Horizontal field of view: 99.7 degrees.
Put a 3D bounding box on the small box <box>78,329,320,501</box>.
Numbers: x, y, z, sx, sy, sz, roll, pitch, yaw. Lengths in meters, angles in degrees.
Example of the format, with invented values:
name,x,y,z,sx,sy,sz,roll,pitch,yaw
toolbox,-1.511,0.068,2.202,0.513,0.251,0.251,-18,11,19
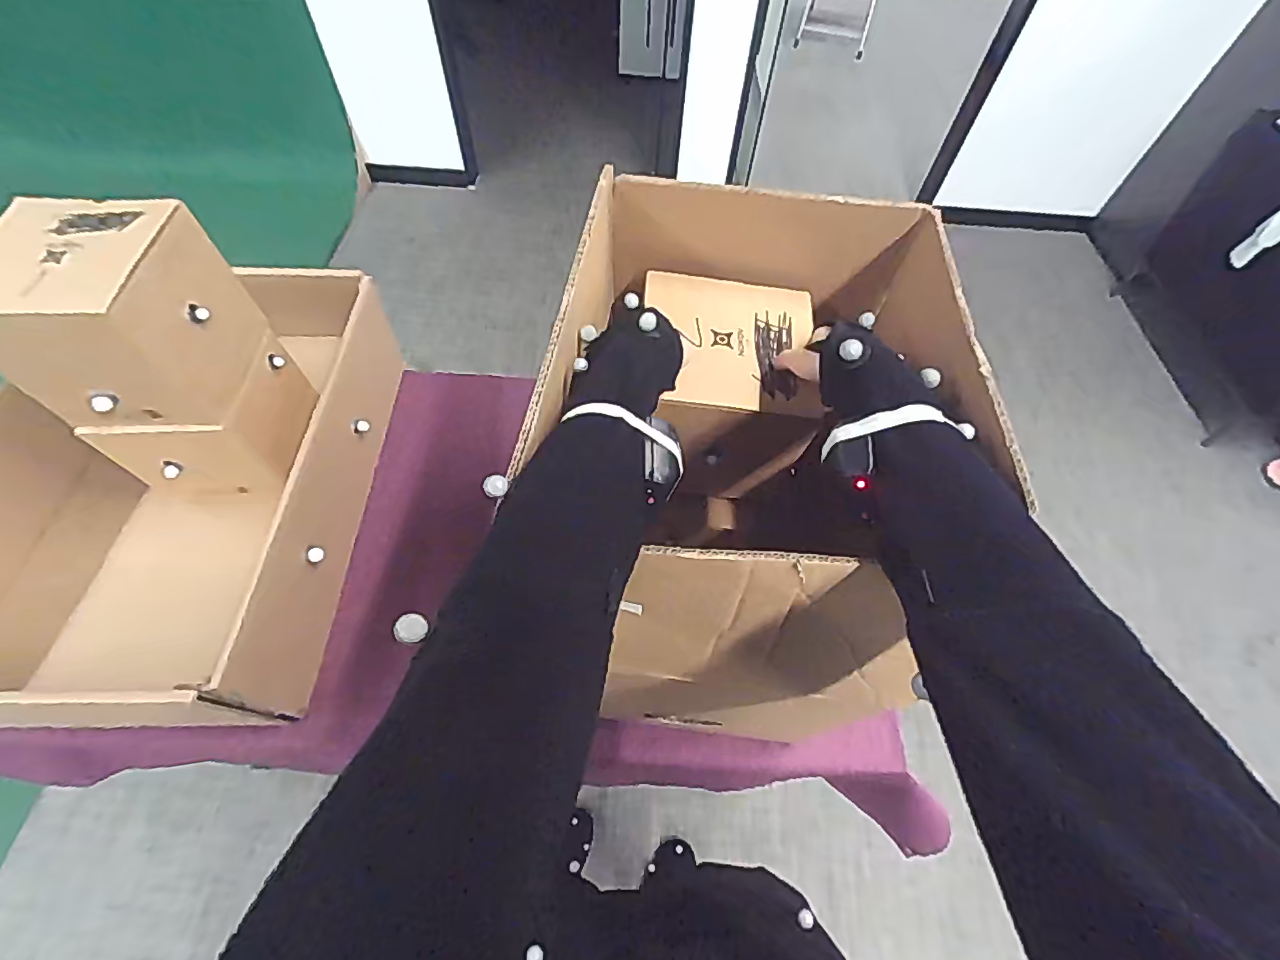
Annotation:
name,x,y,z,sx,sy,sz,roll,pitch,yaw
small box,-0.569,-0.079,0.732,0.168,0.176,0.179,-2,59,-3

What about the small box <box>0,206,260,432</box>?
name,x,y,z,sx,sy,sz,roll,pitch,yaw
small box,-0.564,-0.172,0.595,0.168,0.176,0.179,-1,60,-2
